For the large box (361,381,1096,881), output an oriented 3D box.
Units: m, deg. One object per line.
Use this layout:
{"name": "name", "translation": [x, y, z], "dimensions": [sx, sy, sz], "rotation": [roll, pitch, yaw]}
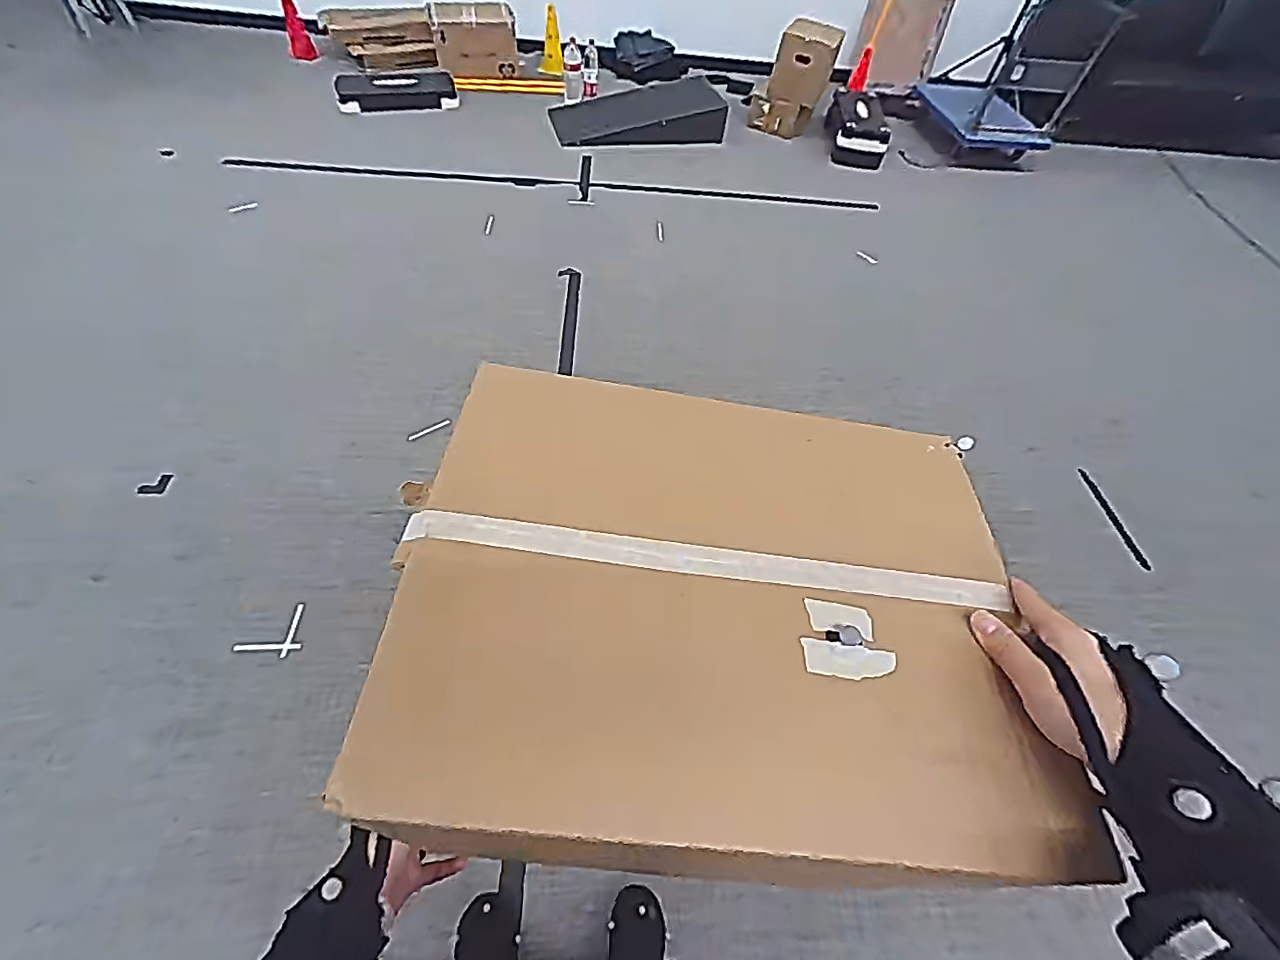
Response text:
{"name": "large box", "translation": [0.040, 0.154, 0.483], "dimensions": [0.408, 0.320, 0.320], "rotation": [9, 53, -6]}
